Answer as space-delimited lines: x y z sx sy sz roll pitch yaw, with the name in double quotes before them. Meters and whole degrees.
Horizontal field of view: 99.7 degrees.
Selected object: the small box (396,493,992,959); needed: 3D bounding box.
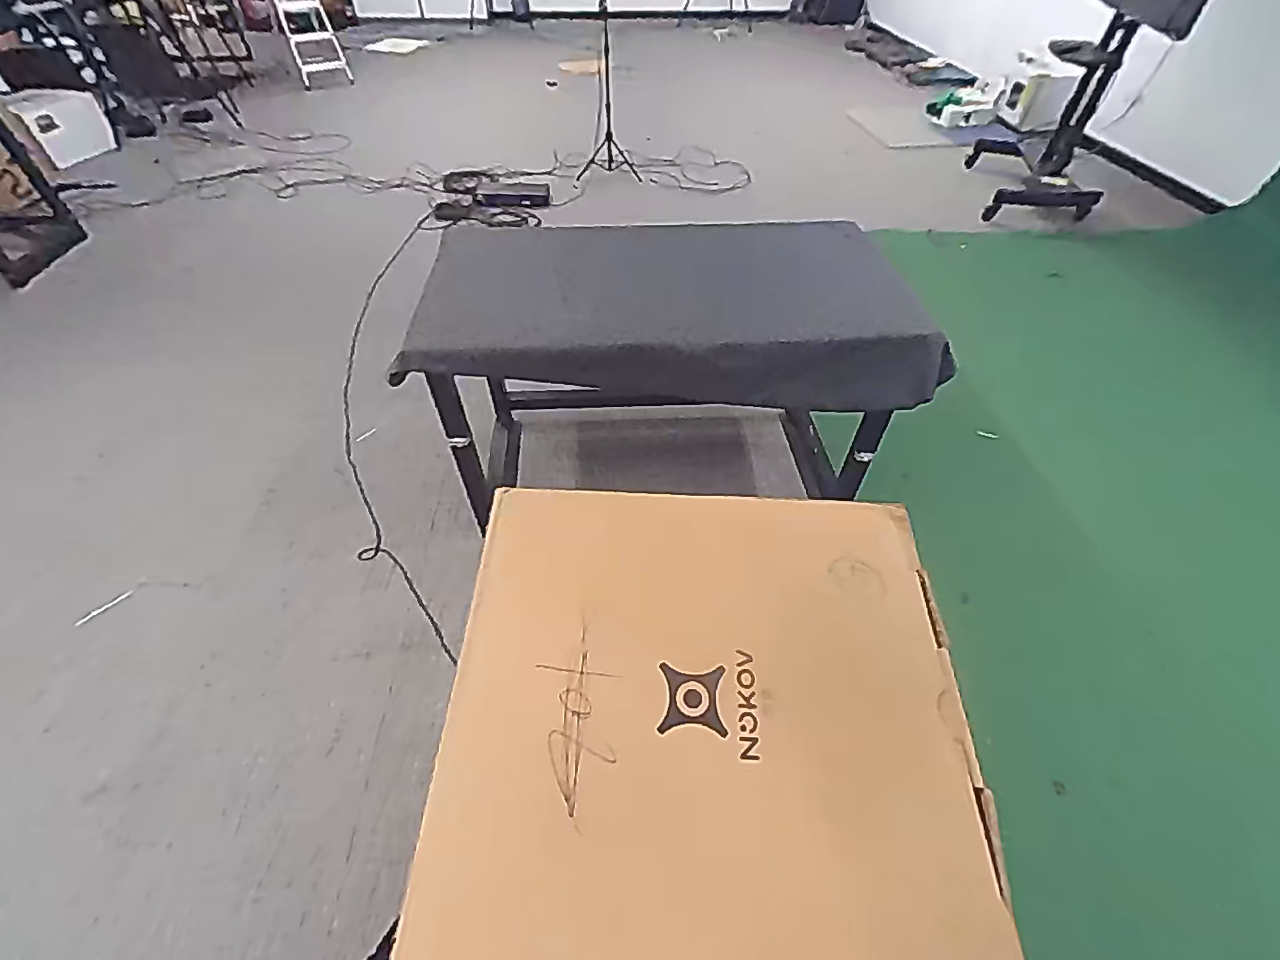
"small box" 0.020 0.121 0.263 0.179 0.176 0.168 1 56 3
